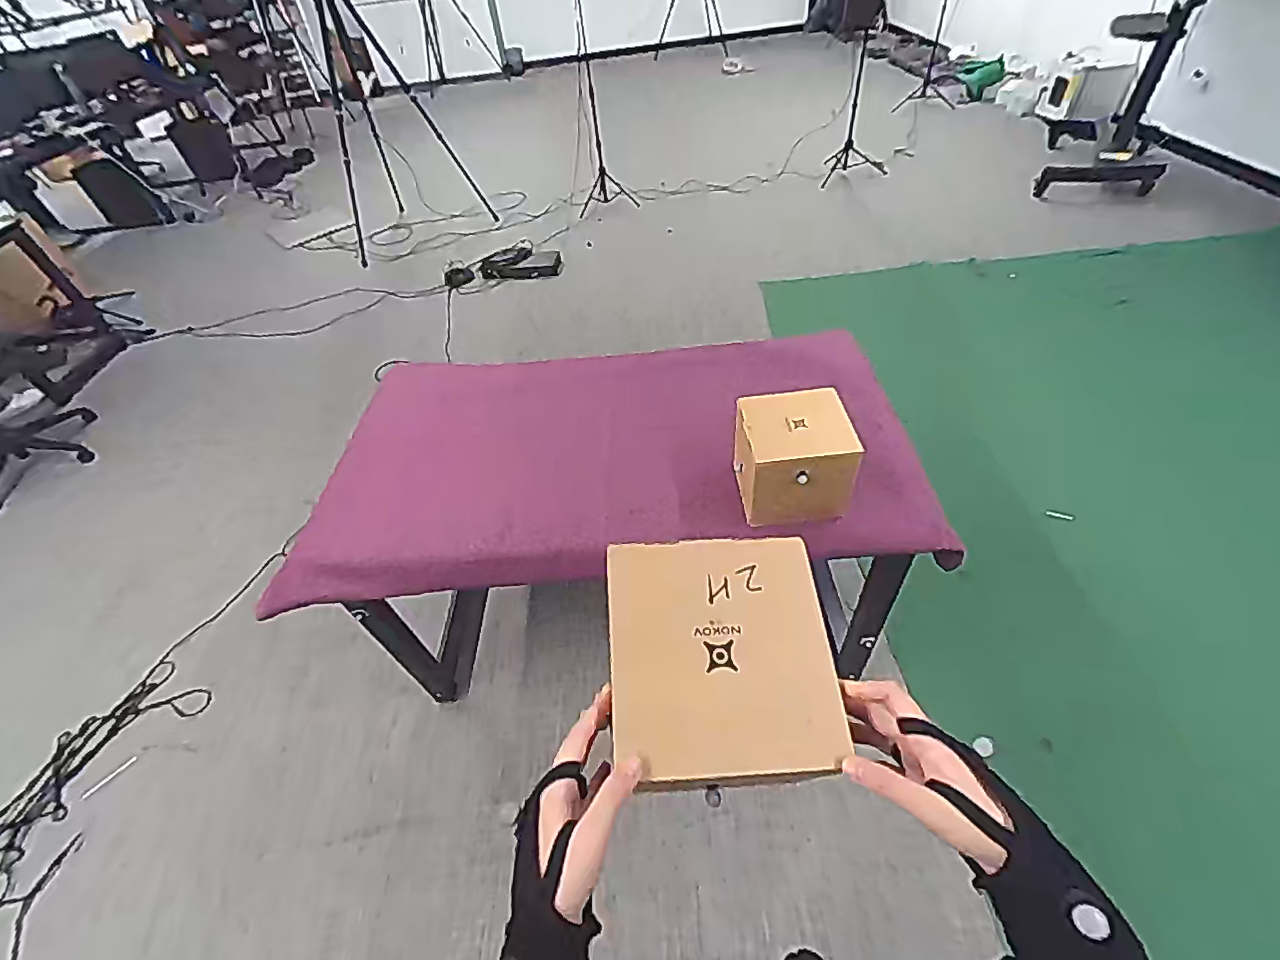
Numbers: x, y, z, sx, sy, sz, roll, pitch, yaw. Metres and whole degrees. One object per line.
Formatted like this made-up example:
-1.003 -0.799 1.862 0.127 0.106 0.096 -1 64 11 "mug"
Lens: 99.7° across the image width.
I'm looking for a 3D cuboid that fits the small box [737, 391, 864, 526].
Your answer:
0.275 -0.036 0.970 0.179 0.176 0.168 -7 47 3 "small box"
